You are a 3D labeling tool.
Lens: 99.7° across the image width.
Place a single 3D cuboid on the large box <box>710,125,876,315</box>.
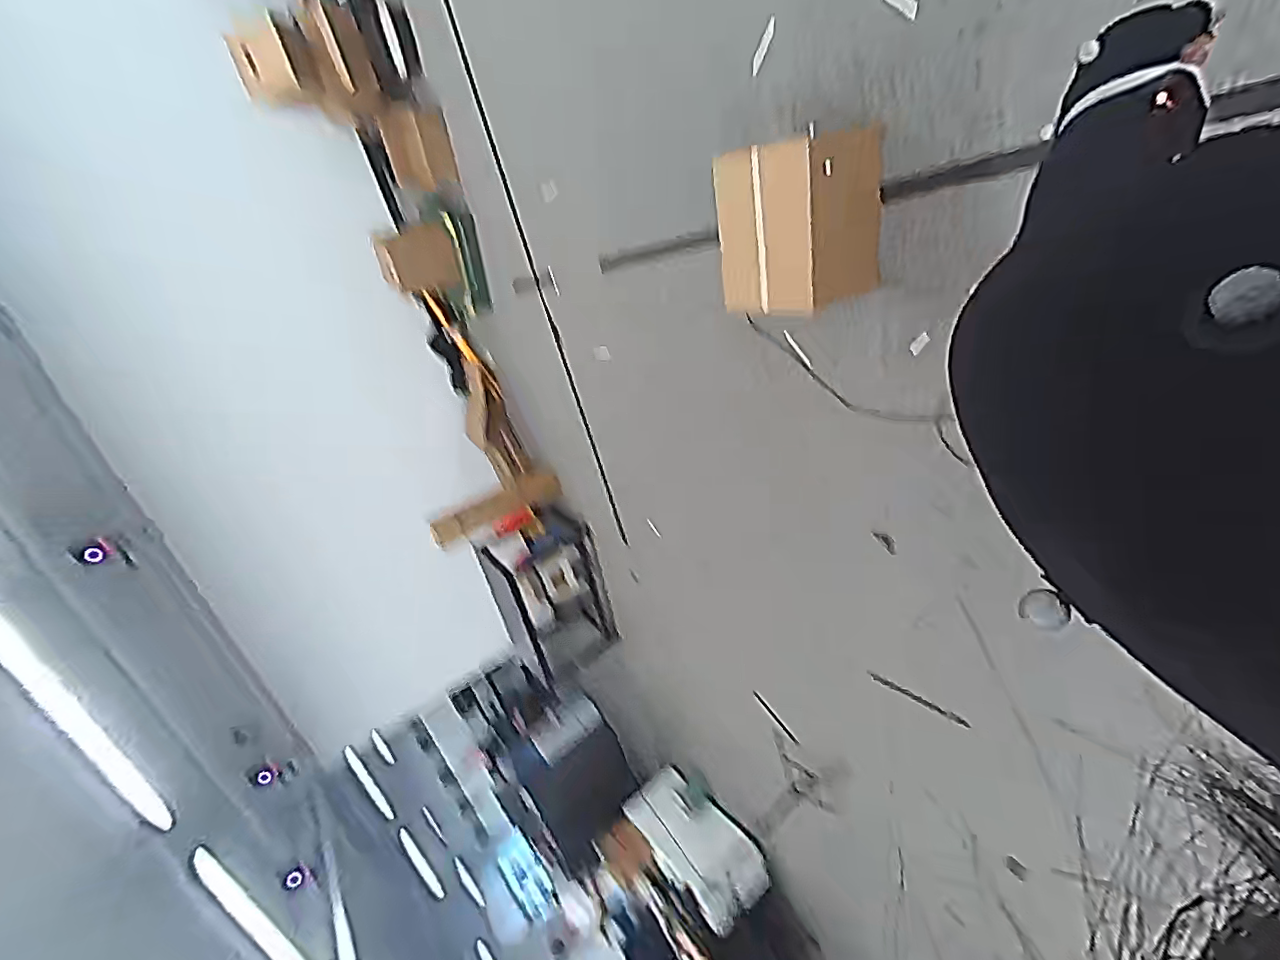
[{"bbox_3d":[0.430,-0.707,1.499,0.320,0.320,0.408,24,135,47],"label":"large box"}]
